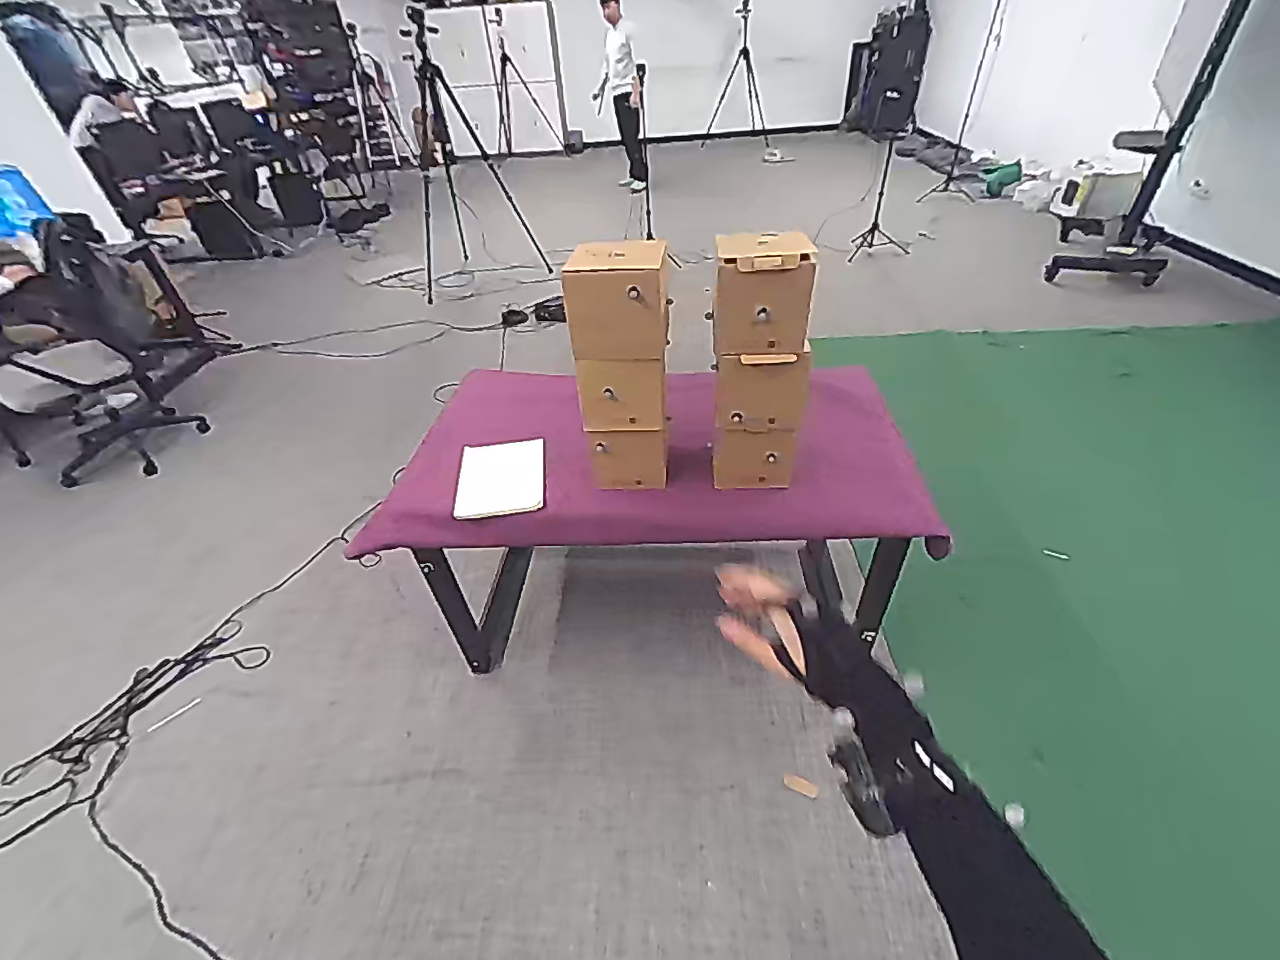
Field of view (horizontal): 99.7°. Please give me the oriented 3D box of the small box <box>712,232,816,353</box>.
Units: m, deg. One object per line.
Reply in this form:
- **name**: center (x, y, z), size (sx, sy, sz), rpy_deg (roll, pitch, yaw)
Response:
- **small box**: center (0.222, -0.349, 1.011), size (0.168, 0.176, 0.179), rpy_deg (1, 40, 5)

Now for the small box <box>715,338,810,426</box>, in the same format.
- **small box**: center (0.243, -0.222, 1.114), size (0.168, 0.176, 0.179), rpy_deg (0, 39, 4)

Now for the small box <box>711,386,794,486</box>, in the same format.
- **small box**: center (0.248, -0.099, 1.222), size (0.168, 0.176, 0.179), rpy_deg (1, 39, 5)

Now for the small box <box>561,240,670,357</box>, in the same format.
- **small box**: center (-0.035, -0.343, 1.026), size (0.179, 0.176, 0.168), rpy_deg (1, 39, 8)

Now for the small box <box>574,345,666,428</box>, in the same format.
- **small box**: center (-0.033, -0.220, 1.137), size (0.168, 0.176, 0.179), rpy_deg (0, 39, 6)
